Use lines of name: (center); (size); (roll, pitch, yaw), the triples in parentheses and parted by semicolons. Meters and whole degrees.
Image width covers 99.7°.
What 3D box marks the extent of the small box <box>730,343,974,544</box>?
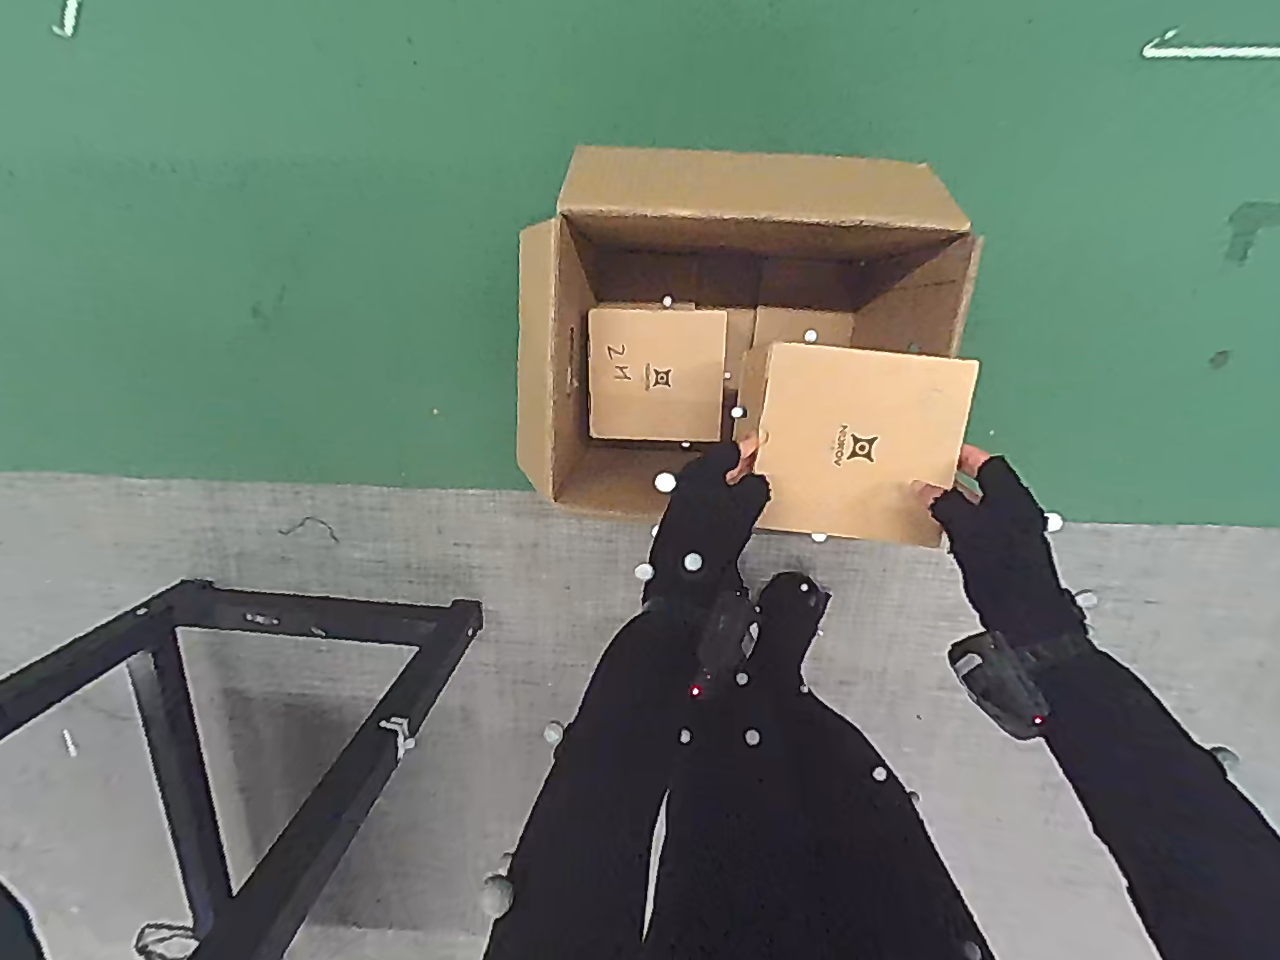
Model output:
small box: (0.194, -0.046, 0.552); (0.179, 0.176, 0.168); (6, 102, 4)
